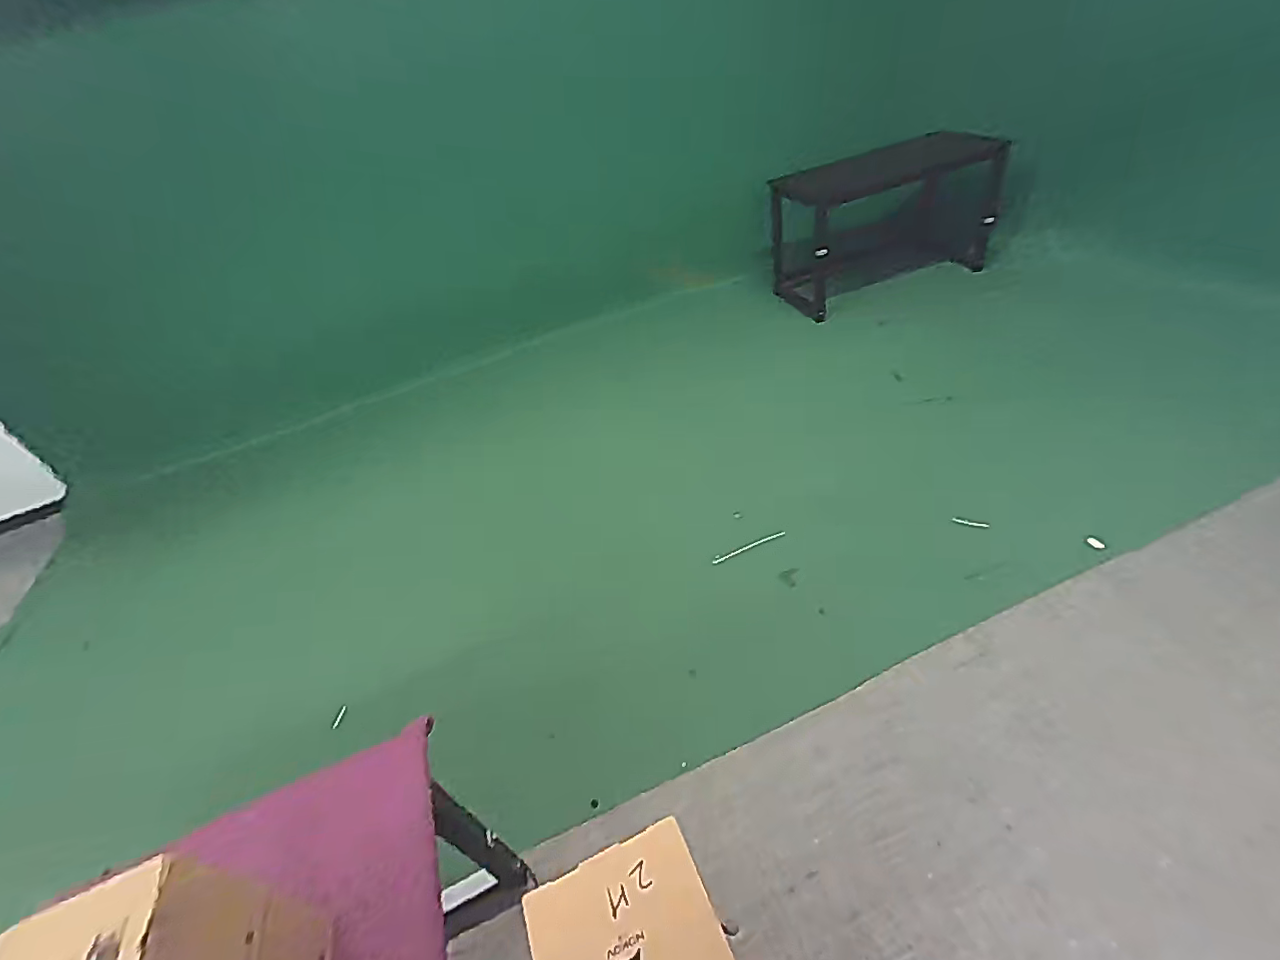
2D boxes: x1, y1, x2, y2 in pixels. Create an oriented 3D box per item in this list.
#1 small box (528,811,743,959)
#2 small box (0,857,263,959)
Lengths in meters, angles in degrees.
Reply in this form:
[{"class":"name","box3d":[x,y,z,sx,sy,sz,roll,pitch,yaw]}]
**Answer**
[{"class":"small box","box3d":[0.011,0.468,0.518,0.168,0.176,0.179,-22,39,-10]},{"class":"small box","box3d":[-0.551,0.549,0.580,0.179,0.176,0.168,-24,42,-7]}]
